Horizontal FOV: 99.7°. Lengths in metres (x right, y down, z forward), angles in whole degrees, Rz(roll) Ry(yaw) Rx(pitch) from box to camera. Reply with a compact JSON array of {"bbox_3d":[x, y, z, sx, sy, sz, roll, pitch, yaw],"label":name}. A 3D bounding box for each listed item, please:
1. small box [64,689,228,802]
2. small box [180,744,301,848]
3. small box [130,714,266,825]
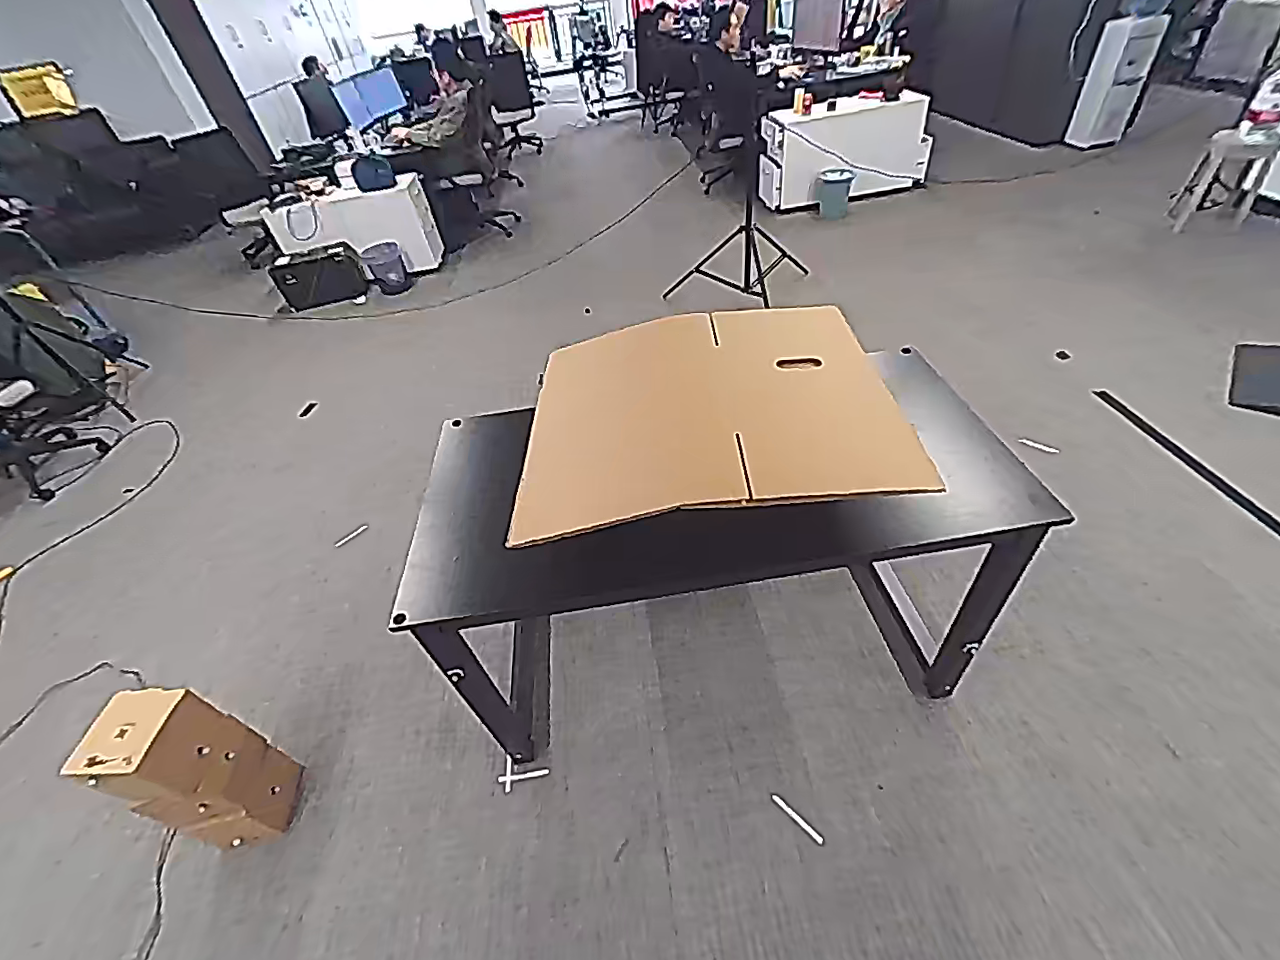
[{"bbox_3d":[-1.062,0.583,1.187,0.168,0.176,0.179,-4,42,5],"label":"small box"},{"bbox_3d":[-1.022,0.822,1.406,0.168,0.176,0.179,-12,44,-2],"label":"small box"},{"bbox_3d":[-1.044,0.701,1.299,0.168,0.176,0.179,-13,42,-5],"label":"small box"}]
